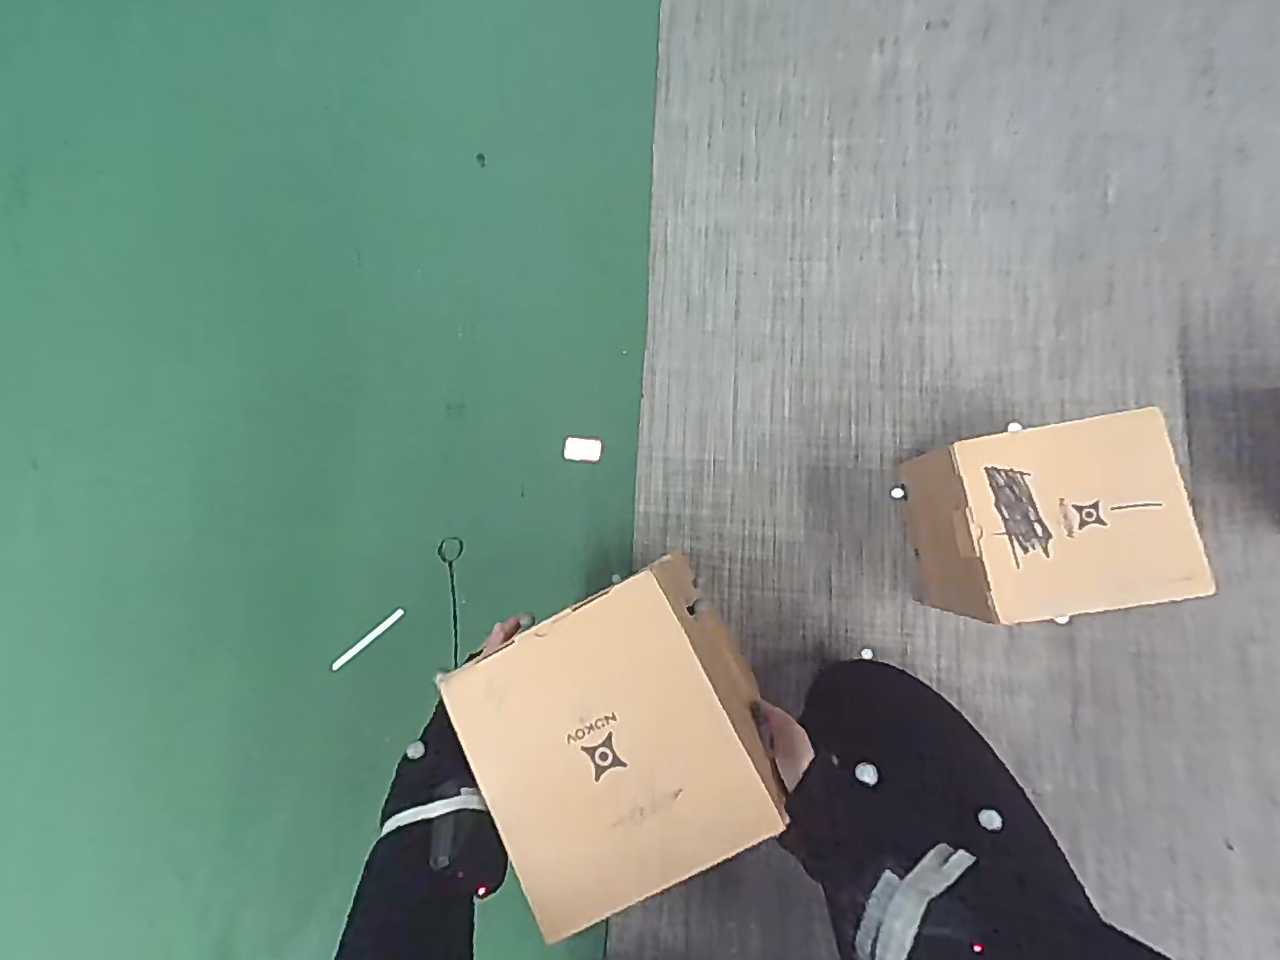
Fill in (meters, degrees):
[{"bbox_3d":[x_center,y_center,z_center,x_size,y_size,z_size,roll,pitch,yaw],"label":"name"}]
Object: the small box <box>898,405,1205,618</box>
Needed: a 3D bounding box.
[{"bbox_3d":[0.385,0.039,0.550,0.179,0.176,0.168,-11,82,6],"label":"small box"}]
